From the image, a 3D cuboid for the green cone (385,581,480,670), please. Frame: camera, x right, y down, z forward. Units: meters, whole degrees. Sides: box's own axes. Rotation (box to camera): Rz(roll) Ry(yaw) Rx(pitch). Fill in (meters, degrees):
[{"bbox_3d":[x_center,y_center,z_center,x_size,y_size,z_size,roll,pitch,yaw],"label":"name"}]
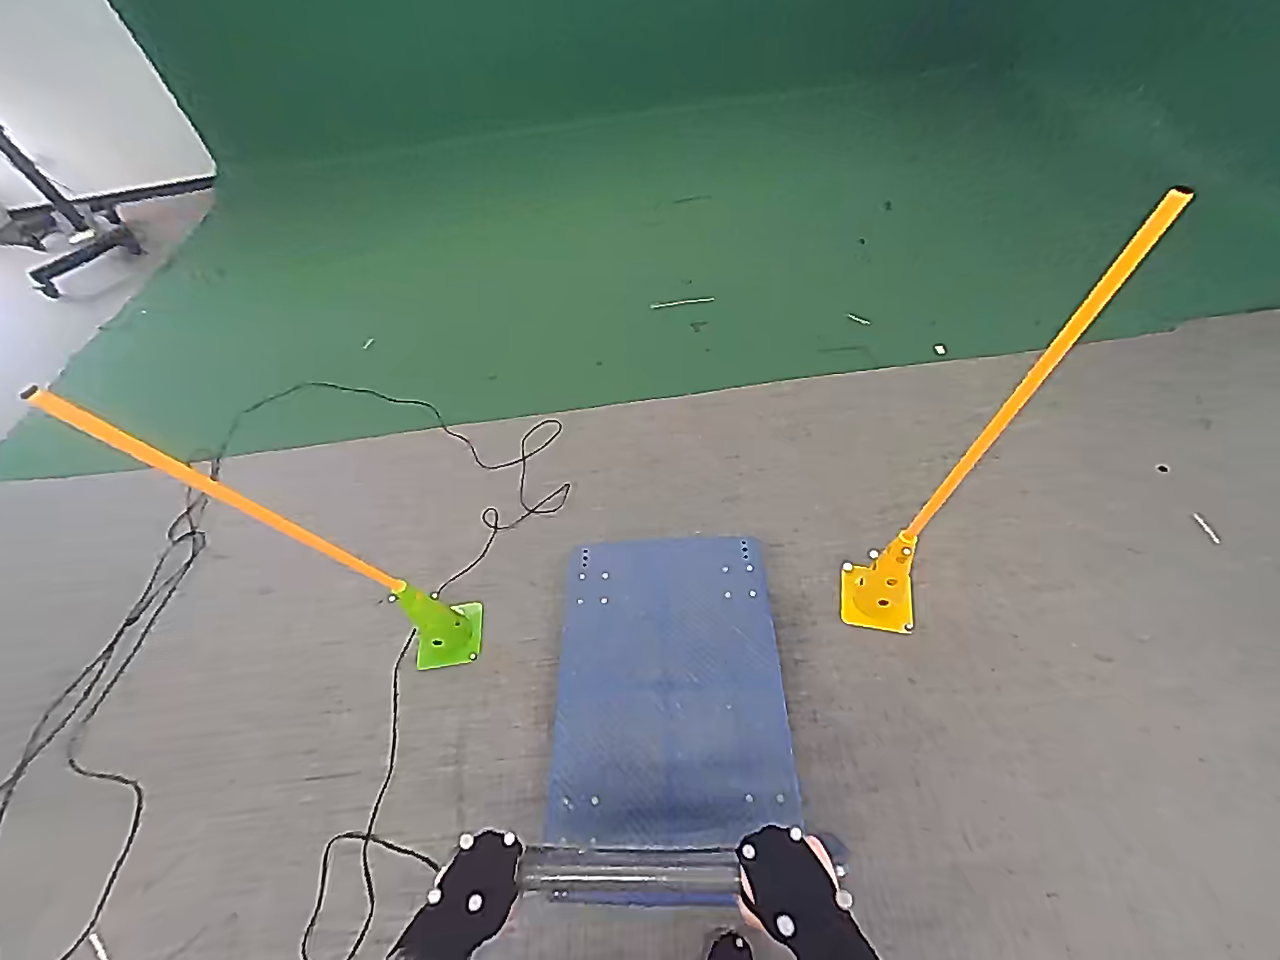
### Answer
[{"bbox_3d":[-0.632,0.389,1.582,0.202,0.368,0.200,-11,52,2],"label":"green cone"}]
